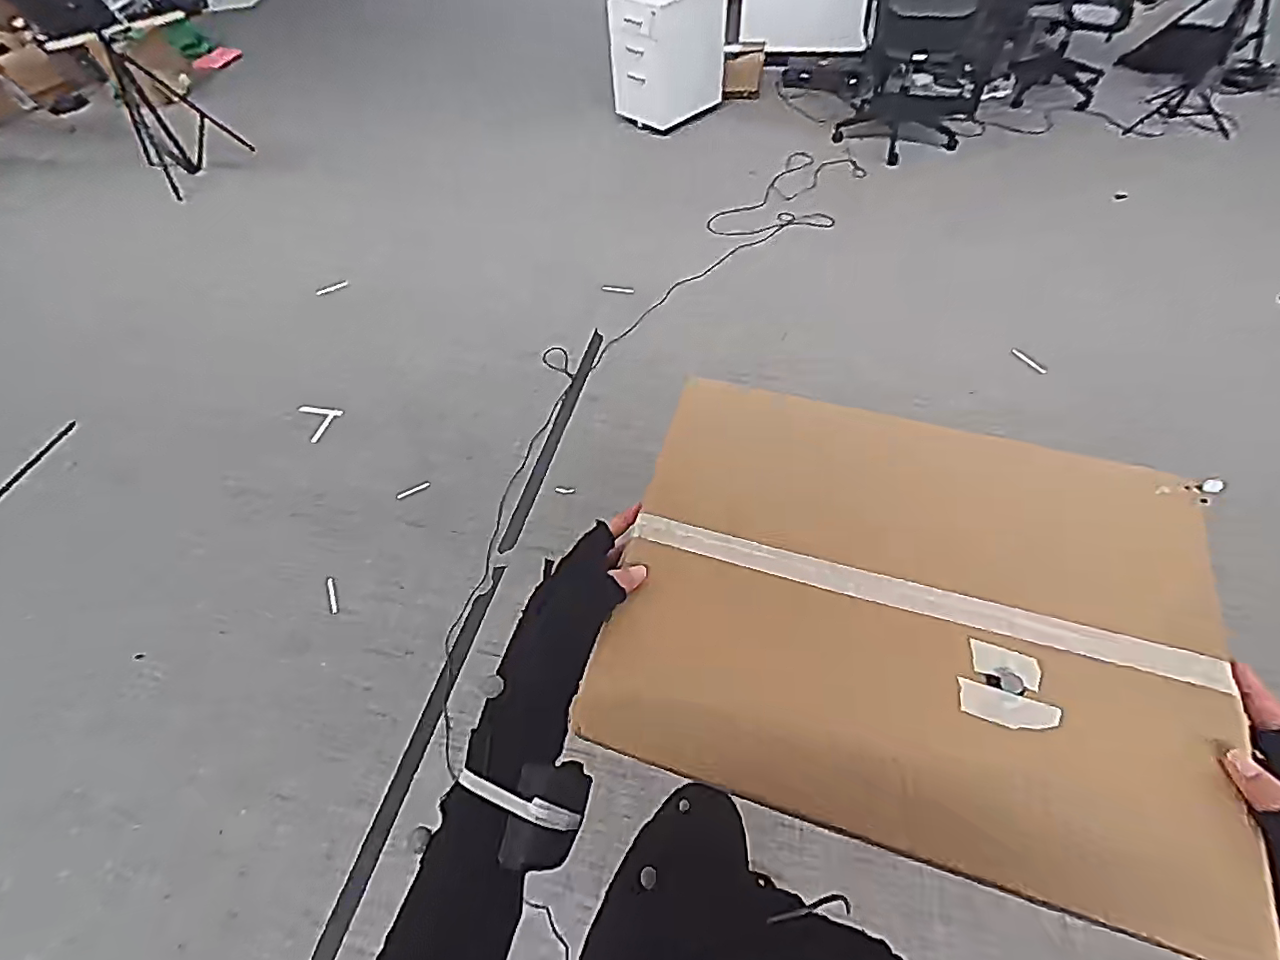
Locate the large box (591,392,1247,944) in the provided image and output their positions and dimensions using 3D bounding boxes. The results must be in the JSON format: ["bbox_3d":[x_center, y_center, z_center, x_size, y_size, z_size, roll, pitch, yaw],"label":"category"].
[{"bbox_3d":[0.204,0.158,0.535,0.408,0.320,0.320,14,65,12],"label":"large box"}]
